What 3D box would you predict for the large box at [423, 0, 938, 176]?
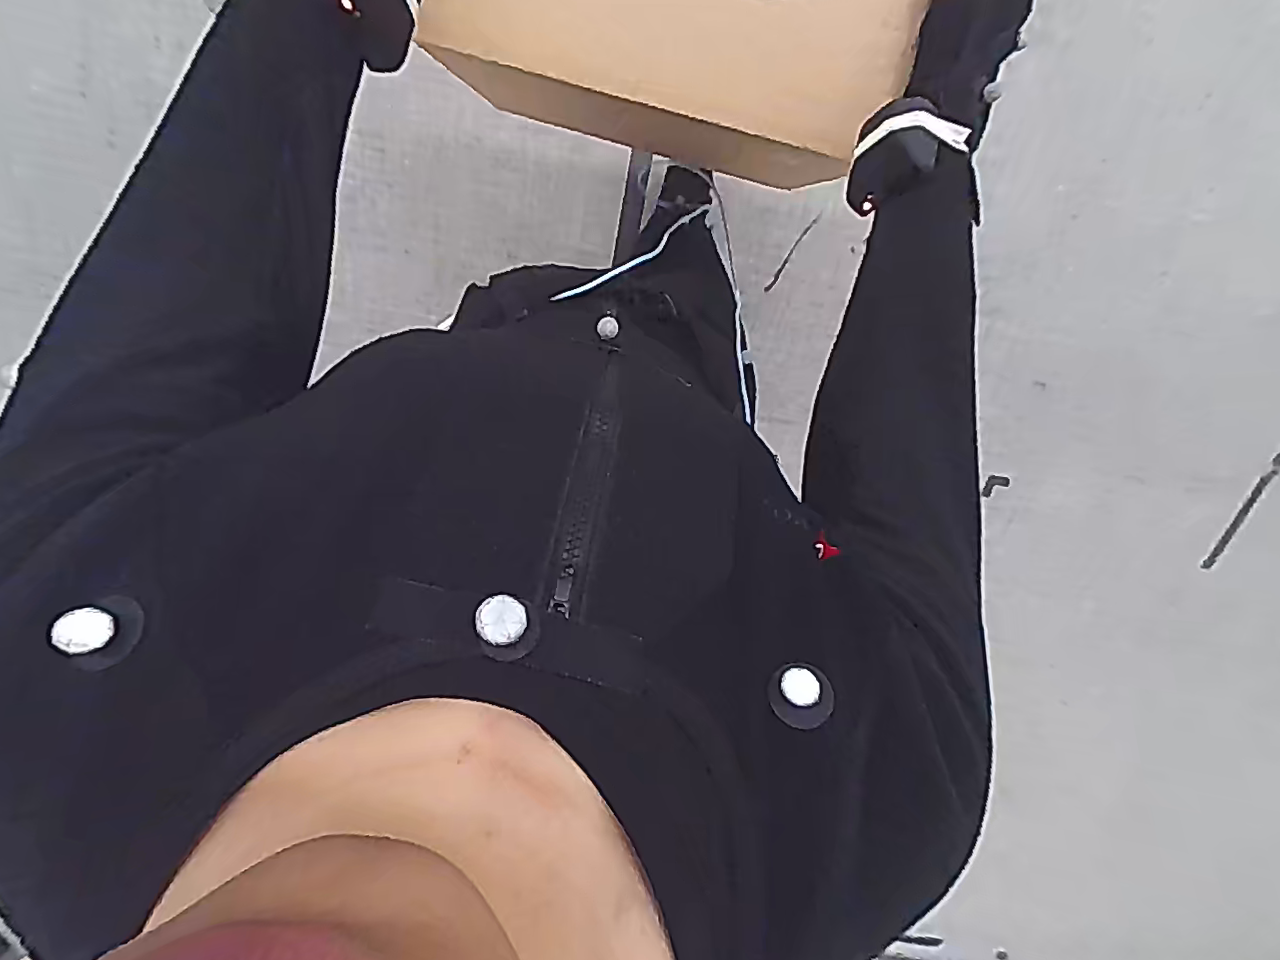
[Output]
[{"bbox_3d":[0.050,-0.521,0.519,0.408,0.320,0.320,12,116,-6],"label":"large box"}]
